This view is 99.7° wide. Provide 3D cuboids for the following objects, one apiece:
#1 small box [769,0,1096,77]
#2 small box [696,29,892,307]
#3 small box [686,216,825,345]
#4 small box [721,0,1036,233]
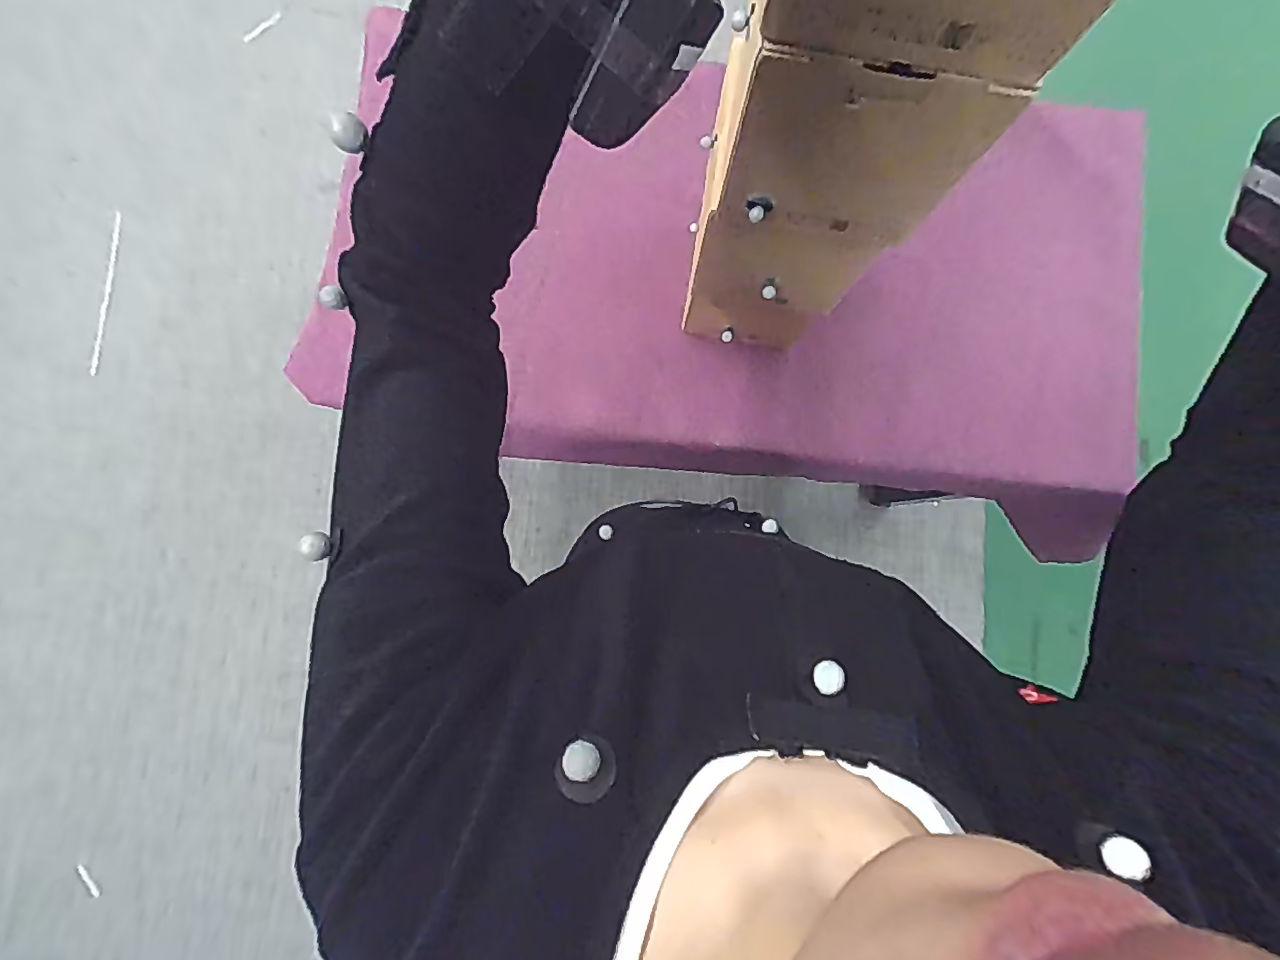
[{"bbox_3d":[0.163,-0.337,0.239,0.168,0.176,0.179,11,84,0],"label":"small box"},{"bbox_3d":[0.156,-0.307,0.564,0.168,0.176,0.179,8,84,1],"label":"small box"},{"bbox_3d":[0.159,-0.305,0.728,0.168,0.176,0.179,10,84,1],"label":"small box"},{"bbox_3d":[0.161,-0.315,0.400,0.168,0.176,0.179,9,83,0],"label":"small box"}]
